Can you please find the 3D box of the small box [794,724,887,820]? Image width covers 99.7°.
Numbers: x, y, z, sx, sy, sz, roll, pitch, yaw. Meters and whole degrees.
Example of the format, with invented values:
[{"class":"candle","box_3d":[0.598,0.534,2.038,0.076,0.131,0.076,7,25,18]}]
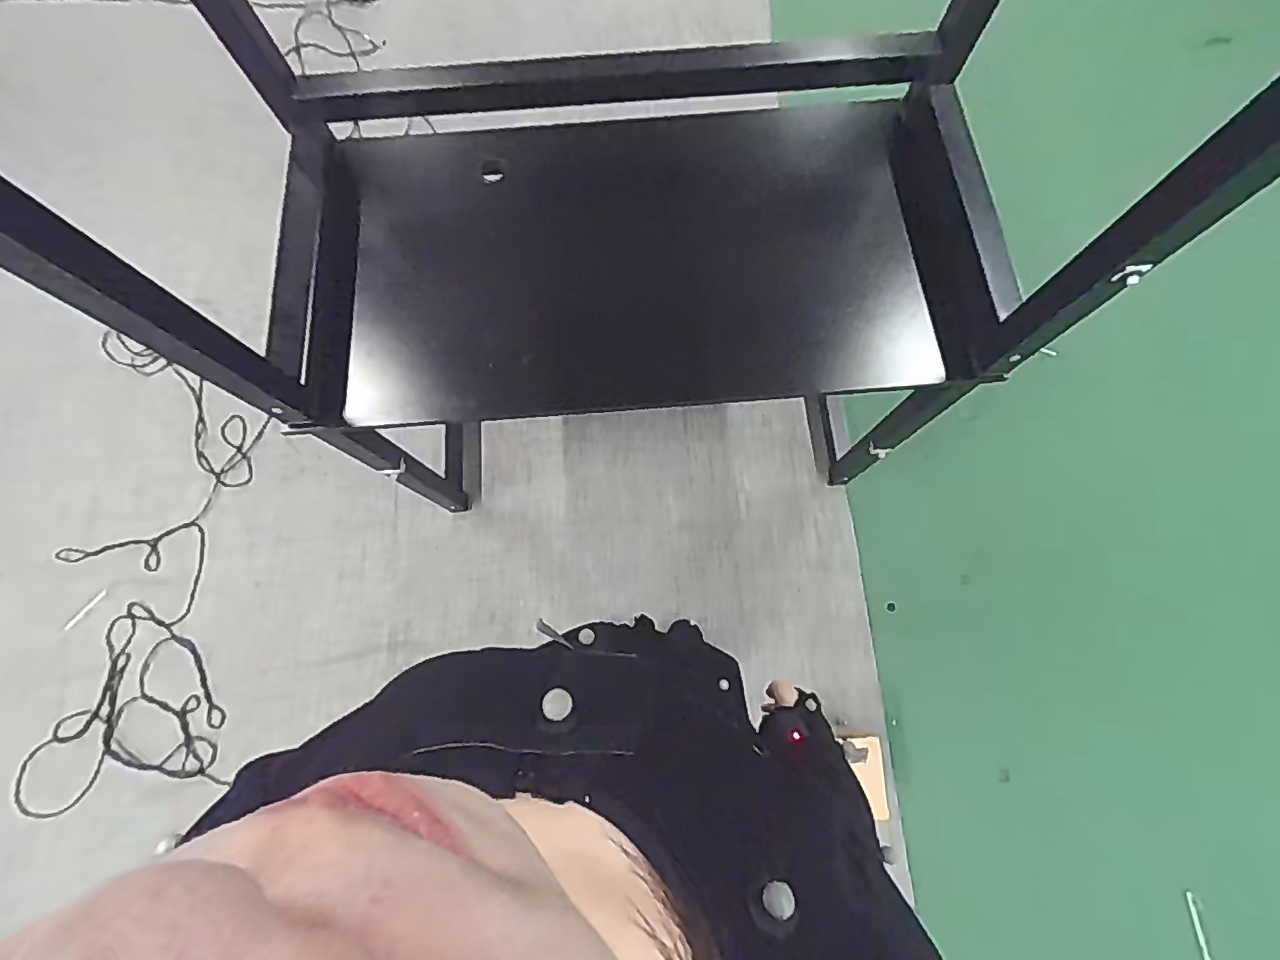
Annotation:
[{"class":"small box","box_3d":[0.479,0.702,1.317,0.168,0.176,0.179,-1,76,2]}]
